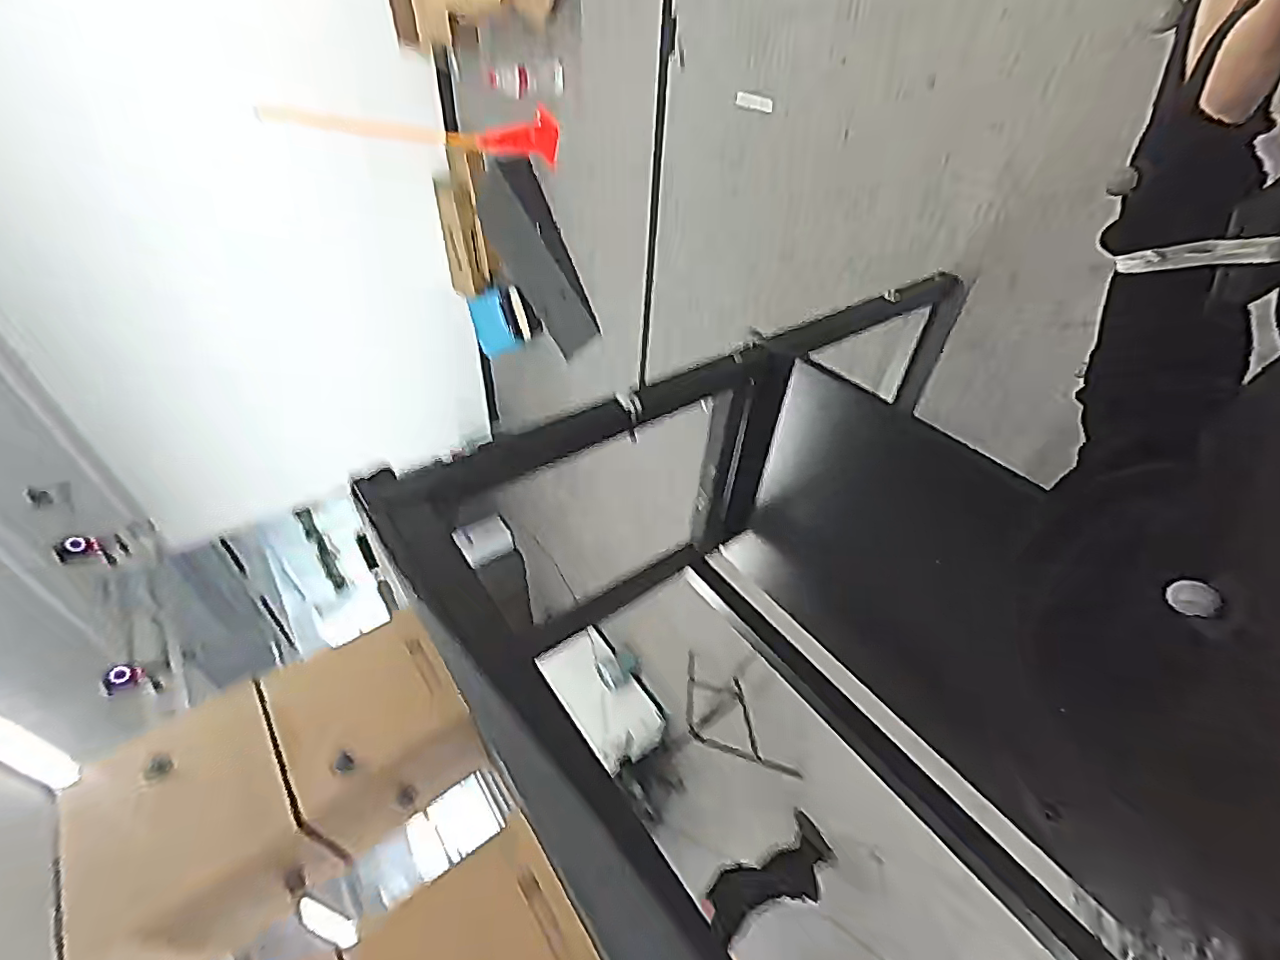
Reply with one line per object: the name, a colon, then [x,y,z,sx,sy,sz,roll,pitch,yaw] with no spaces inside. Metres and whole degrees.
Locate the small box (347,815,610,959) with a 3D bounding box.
small box: [-0.130,0.448,0.495,0.168,0.176,0.179,45,148,32]

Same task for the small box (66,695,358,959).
small box: [-0.417,0.349,0.548,0.179,0.176,0.168,42,147,33]
